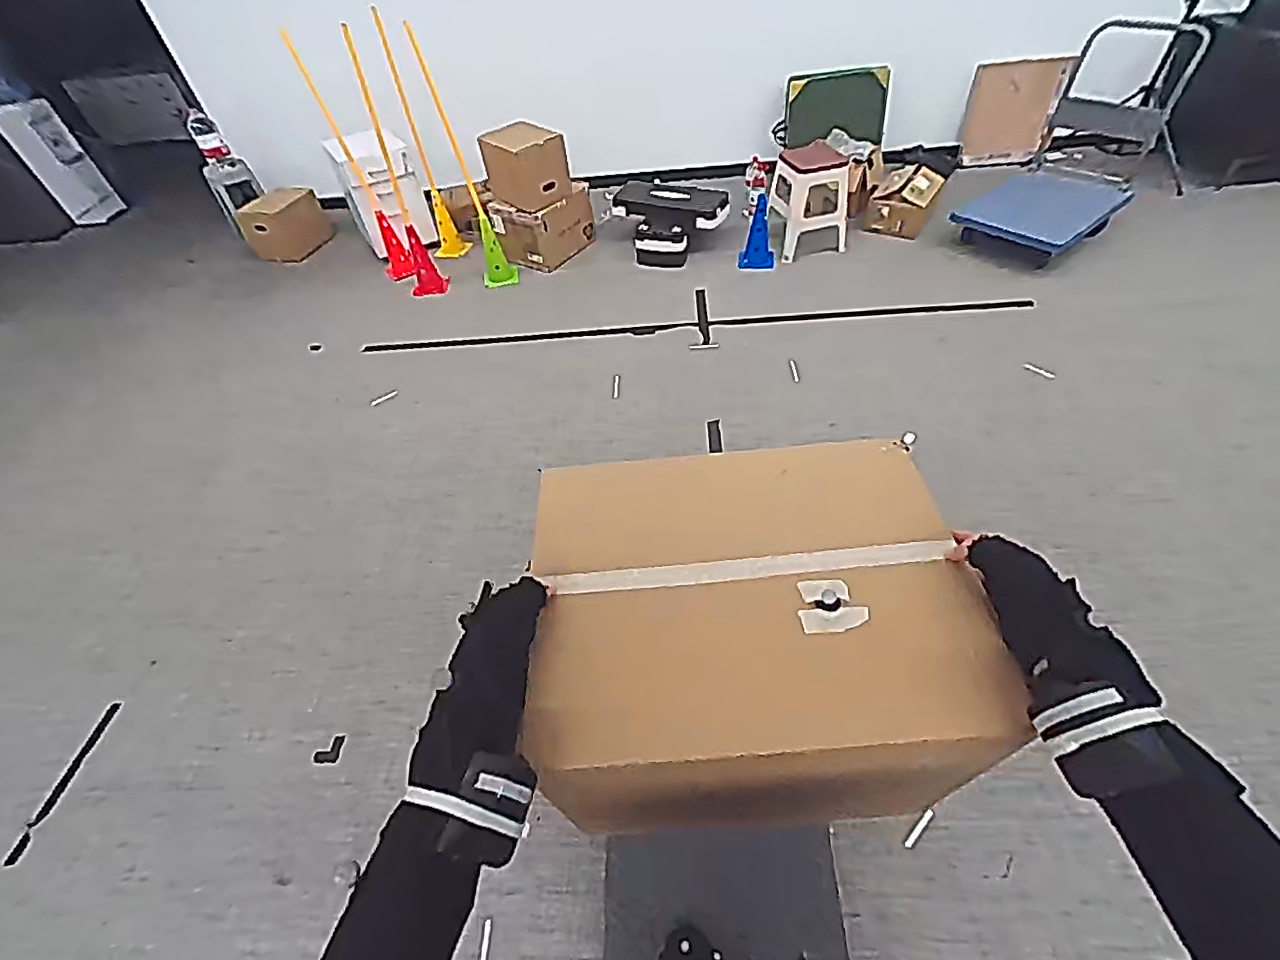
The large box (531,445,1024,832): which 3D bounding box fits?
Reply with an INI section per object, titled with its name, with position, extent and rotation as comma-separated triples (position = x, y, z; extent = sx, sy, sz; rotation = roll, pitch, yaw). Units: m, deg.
[large box]
position = 0.109, 0.191, 0.635
extent = 0.408, 0.320, 0.320
rotation = -5, 49, 2
